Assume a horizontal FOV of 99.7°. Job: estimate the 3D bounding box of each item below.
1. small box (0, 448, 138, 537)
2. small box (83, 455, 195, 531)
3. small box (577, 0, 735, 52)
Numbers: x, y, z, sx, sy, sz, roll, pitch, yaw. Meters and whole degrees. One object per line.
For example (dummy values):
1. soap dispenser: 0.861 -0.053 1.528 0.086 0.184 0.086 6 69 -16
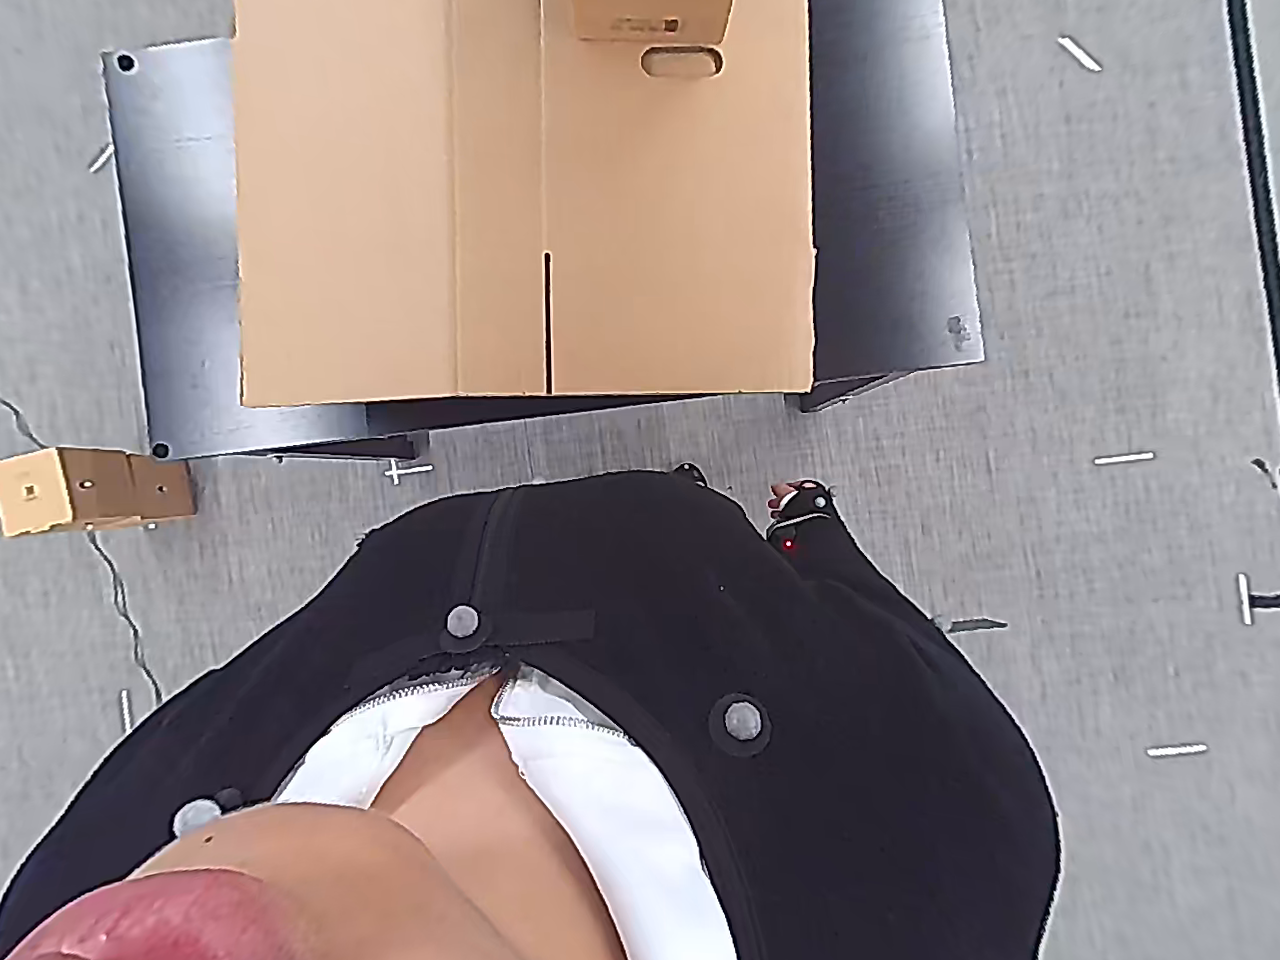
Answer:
1. small box: -1.369 0.029 1.302 0.168 0.176 0.179 -14 88 1
2. small box: -1.361 0.035 1.464 0.168 0.176 0.179 -10 90 2
3. small box: 0.017 -0.566 0.519 0.168 0.176 0.179 1 88 -1
